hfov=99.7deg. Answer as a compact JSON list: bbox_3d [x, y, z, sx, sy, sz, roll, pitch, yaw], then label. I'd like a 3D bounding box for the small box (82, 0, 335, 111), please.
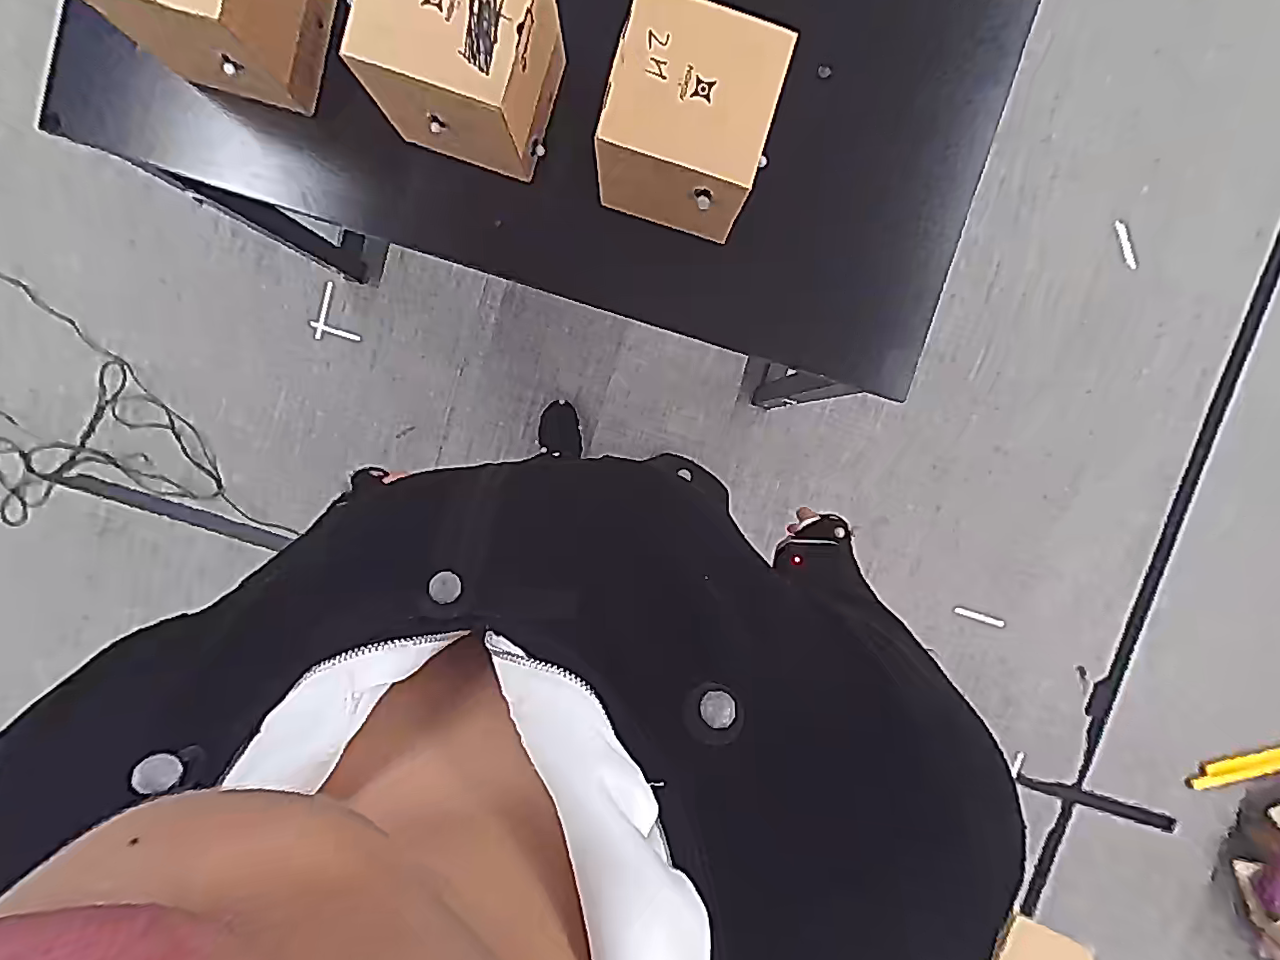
[{"bbox_3d":[-0.489,-0.569,0.622,0.179,0.176,0.168,14,94,-2],"label":"small box"}]

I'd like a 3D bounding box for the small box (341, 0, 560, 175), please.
[{"bbox_3d":[-0.204,-0.493,0.634,0.179,0.176,0.168,18,94,-2],"label":"small box"}]

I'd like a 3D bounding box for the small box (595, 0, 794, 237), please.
[{"bbox_3d":[0.054,-0.415,0.645,0.179,0.176,0.168,16,93,-3],"label":"small box"}]
